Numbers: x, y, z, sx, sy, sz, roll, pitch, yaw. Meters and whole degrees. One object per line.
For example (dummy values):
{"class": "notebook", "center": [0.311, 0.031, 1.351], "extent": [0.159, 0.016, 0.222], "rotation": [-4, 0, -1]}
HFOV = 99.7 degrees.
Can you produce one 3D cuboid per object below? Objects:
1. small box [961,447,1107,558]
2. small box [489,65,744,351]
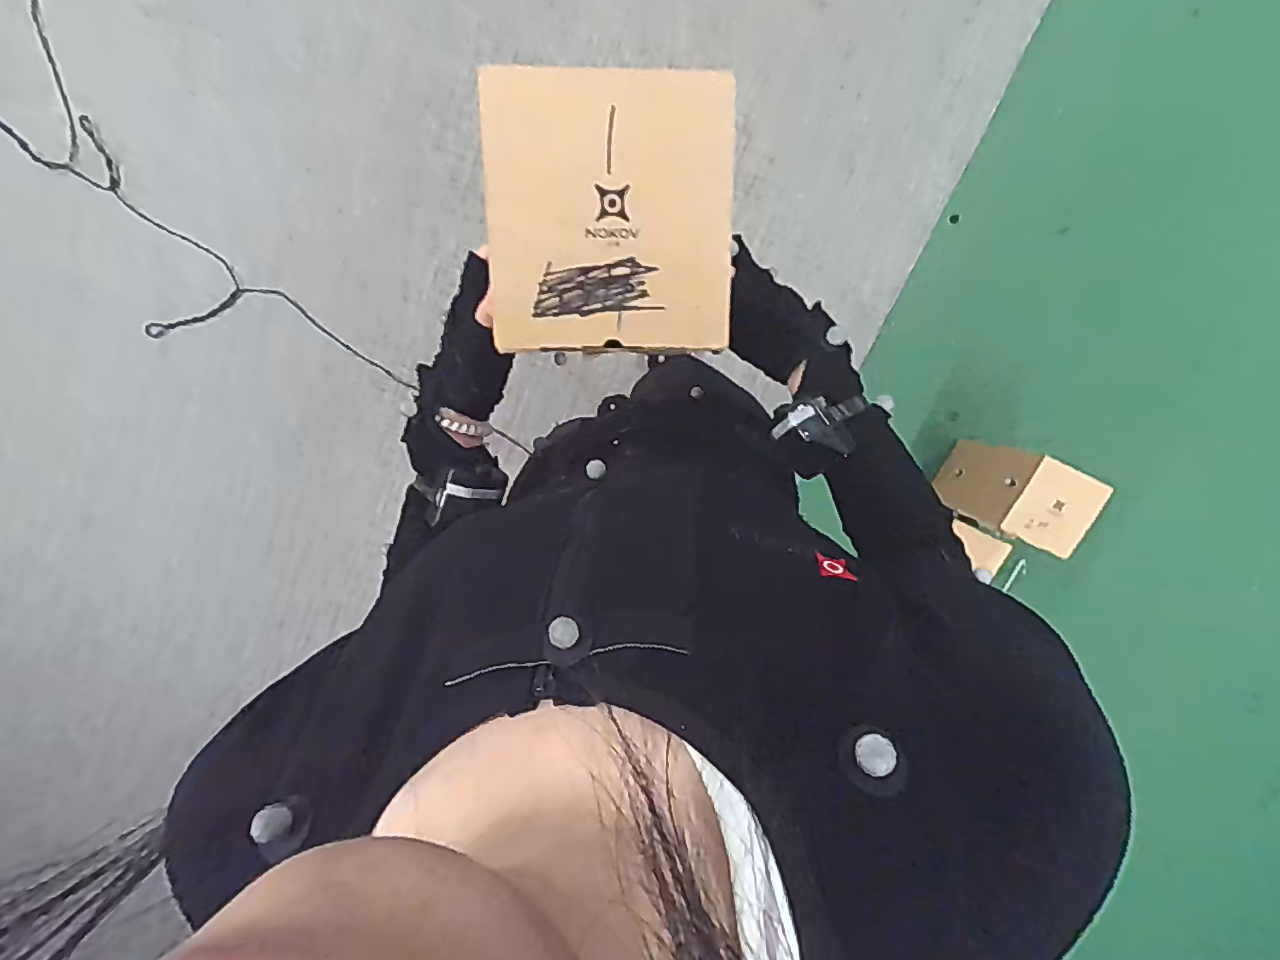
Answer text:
{"class": "small box", "center": [0.867, 0.041, 1.213], "extent": [0.168, 0.176, 0.179], "rotation": [26, 102, -3]}
{"class": "small box", "center": [-0.018, -0.198, 0.441], "extent": [0.168, 0.176, 0.179], "rotation": [-2, 104, -3]}
